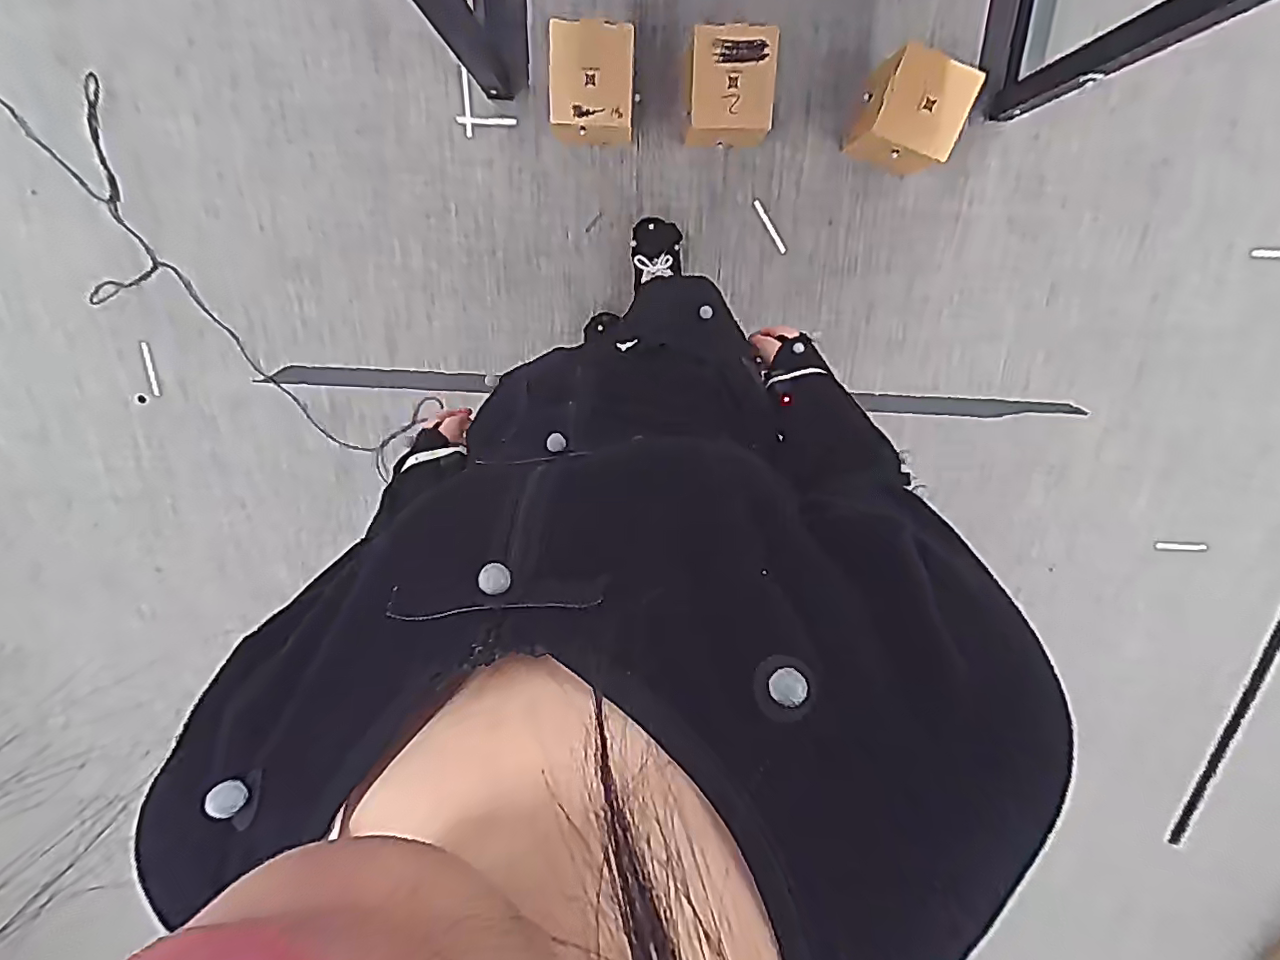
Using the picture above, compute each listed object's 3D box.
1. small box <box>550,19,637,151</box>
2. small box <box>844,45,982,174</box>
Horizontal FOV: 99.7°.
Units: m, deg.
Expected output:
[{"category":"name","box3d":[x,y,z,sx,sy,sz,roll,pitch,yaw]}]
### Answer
[{"category":"small box","box3d":[-0.096,-0.824,1.144,0.168,0.176,0.179,4,108,-2]},{"category":"small box","box3d":[0.576,-0.783,1.166,0.179,0.176,0.168,18,109,-6]}]
